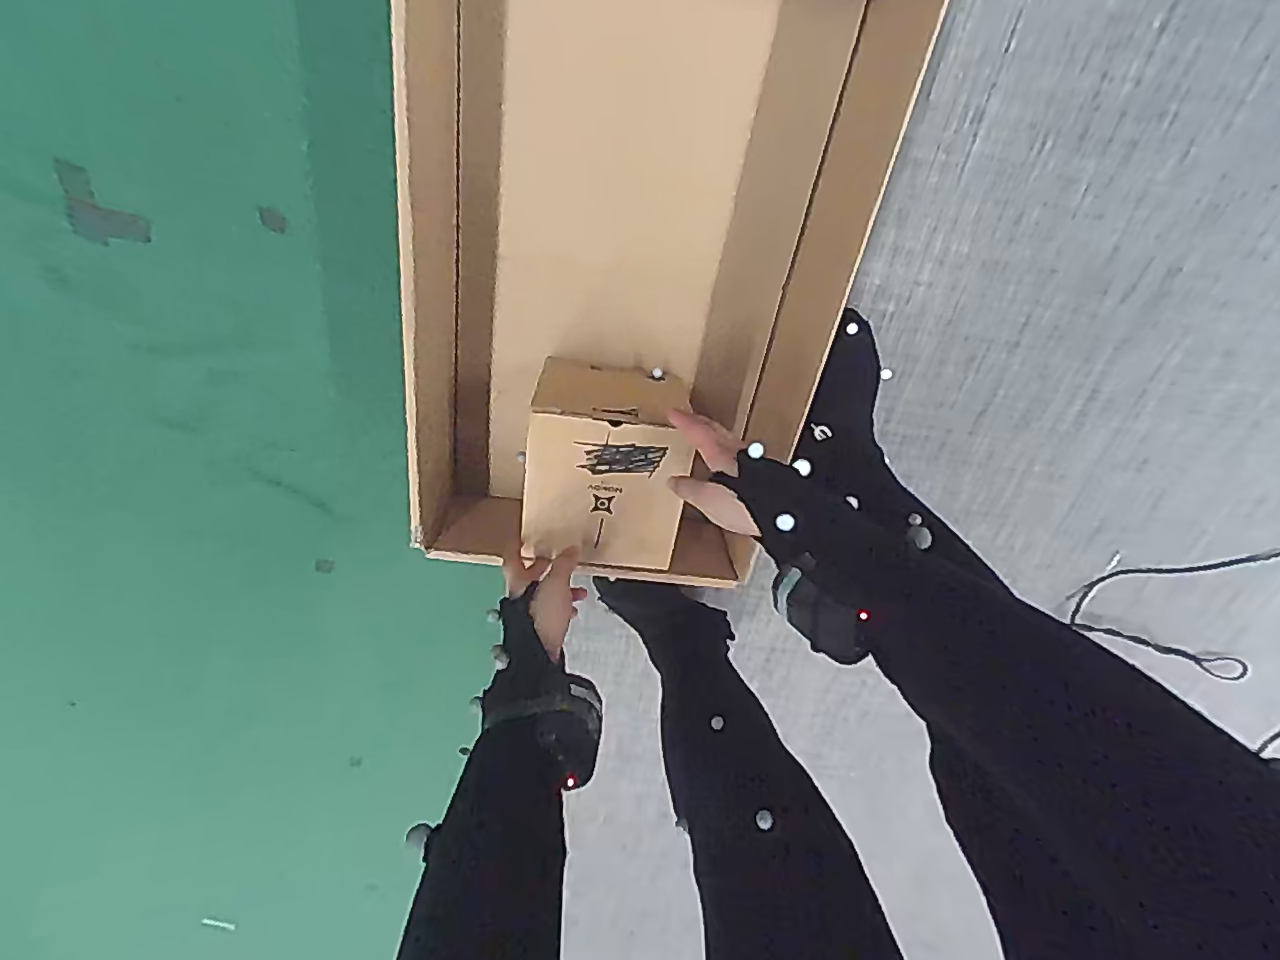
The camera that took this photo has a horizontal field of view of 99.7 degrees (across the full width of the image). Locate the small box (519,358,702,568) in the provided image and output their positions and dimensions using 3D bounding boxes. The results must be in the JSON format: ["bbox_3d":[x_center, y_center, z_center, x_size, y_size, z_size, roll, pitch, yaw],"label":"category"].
[{"bbox_3d":[-0.039,-0.026,0.611,0.168,0.176,0.179,6,119,-7],"label":"small box"}]
